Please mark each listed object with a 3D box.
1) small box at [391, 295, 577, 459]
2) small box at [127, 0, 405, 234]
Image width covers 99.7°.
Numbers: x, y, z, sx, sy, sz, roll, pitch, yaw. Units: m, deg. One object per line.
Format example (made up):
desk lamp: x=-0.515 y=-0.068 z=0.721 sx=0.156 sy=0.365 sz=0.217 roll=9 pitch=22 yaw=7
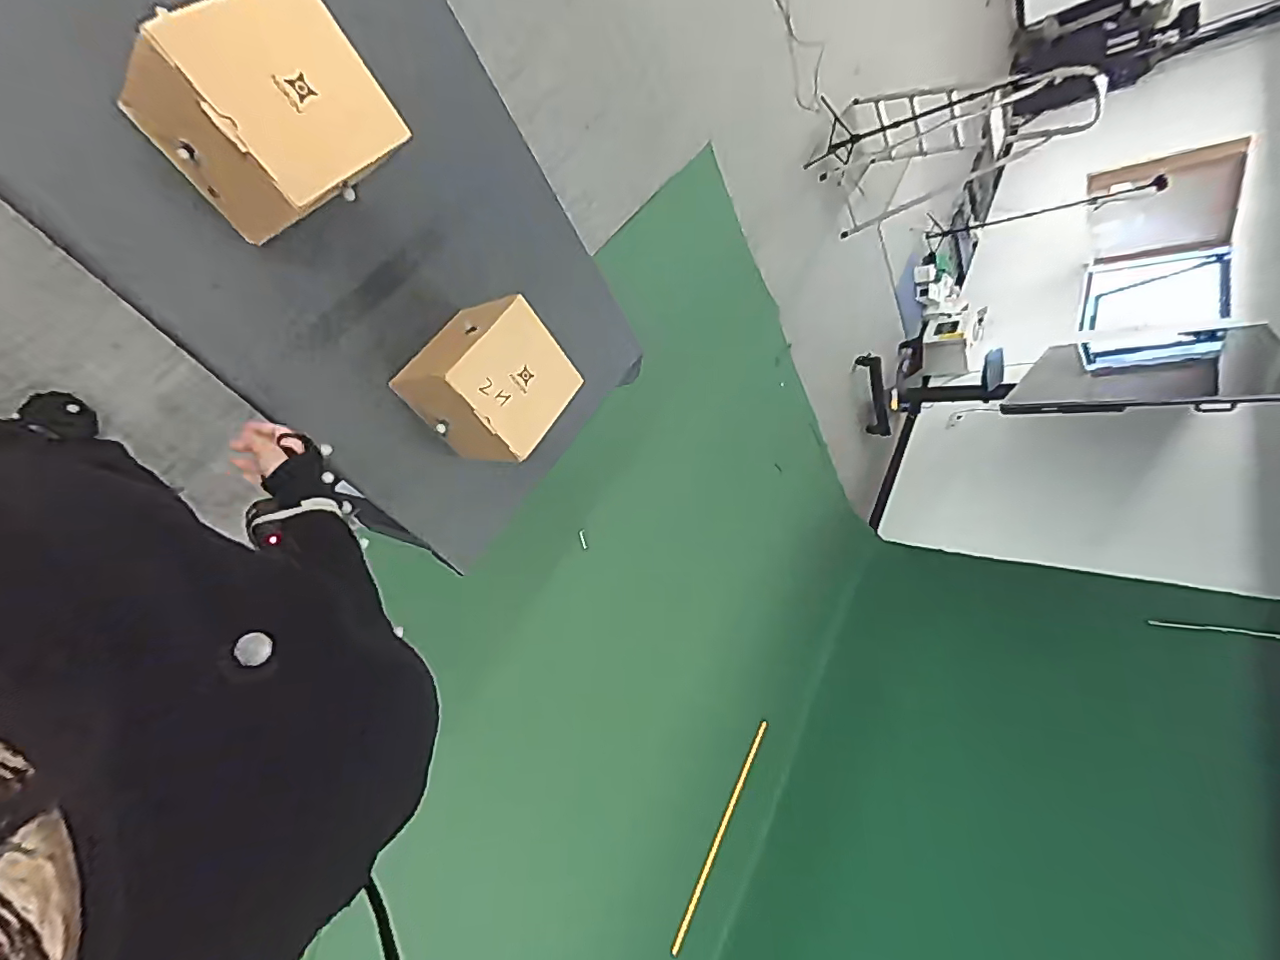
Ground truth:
small box: x=-0.236 y=-0.152 z=0.819 sx=0.179 sy=0.176 sz=0.168 roll=-57 pitch=131 yaw=-26
small box: x=-0.411 y=-0.404 z=0.600 sx=0.179 sy=0.176 sz=0.168 roll=-56 pitch=132 yaw=-27
